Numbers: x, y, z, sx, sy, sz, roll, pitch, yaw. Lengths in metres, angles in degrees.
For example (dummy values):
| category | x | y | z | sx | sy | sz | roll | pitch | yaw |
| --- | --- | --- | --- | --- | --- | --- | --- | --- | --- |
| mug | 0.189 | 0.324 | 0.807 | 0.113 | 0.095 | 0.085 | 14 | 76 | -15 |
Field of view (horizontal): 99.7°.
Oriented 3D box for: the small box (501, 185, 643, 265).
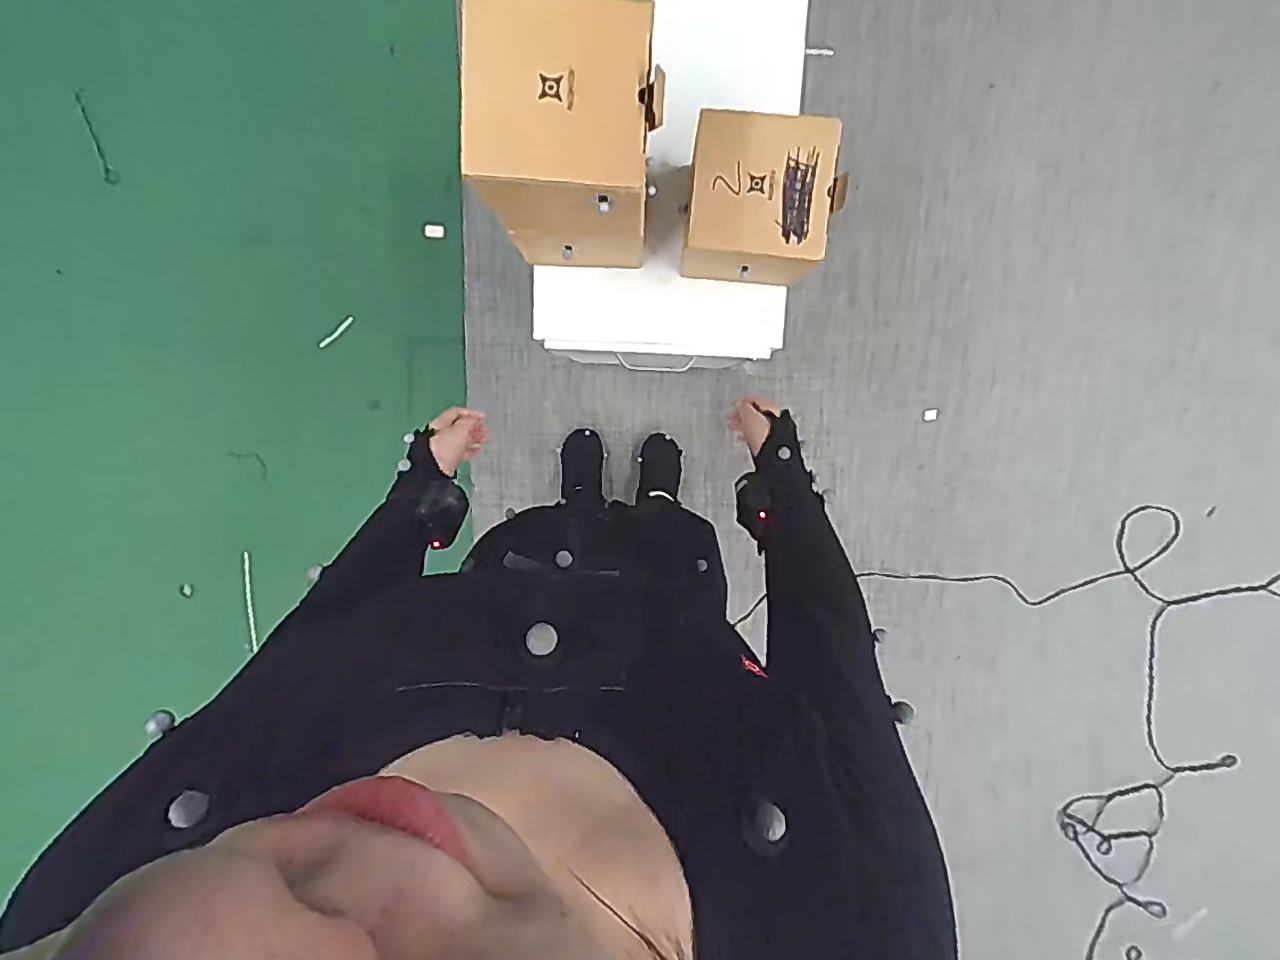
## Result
| category | x | y | z | sx | sy | sz | roll | pitch | yaw |
| --- | --- | --- | --- | --- | --- | --- | --- | --- | --- |
| small box | -0.085 | -0.402 | 0.744 | 0.179 | 0.176 | 0.168 | 1 | 99 | -2 |

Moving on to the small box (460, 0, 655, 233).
| category | x | y | z | sx | sy | sz | roll | pitch | yaw |
| --- | --- | --- | --- | --- | --- | --- | --- | --- | --- |
| small box | -0.081 | -0.380 | 0.583 | 0.179 | 0.176 | 0.168 | 3 | 98 | -3 |
